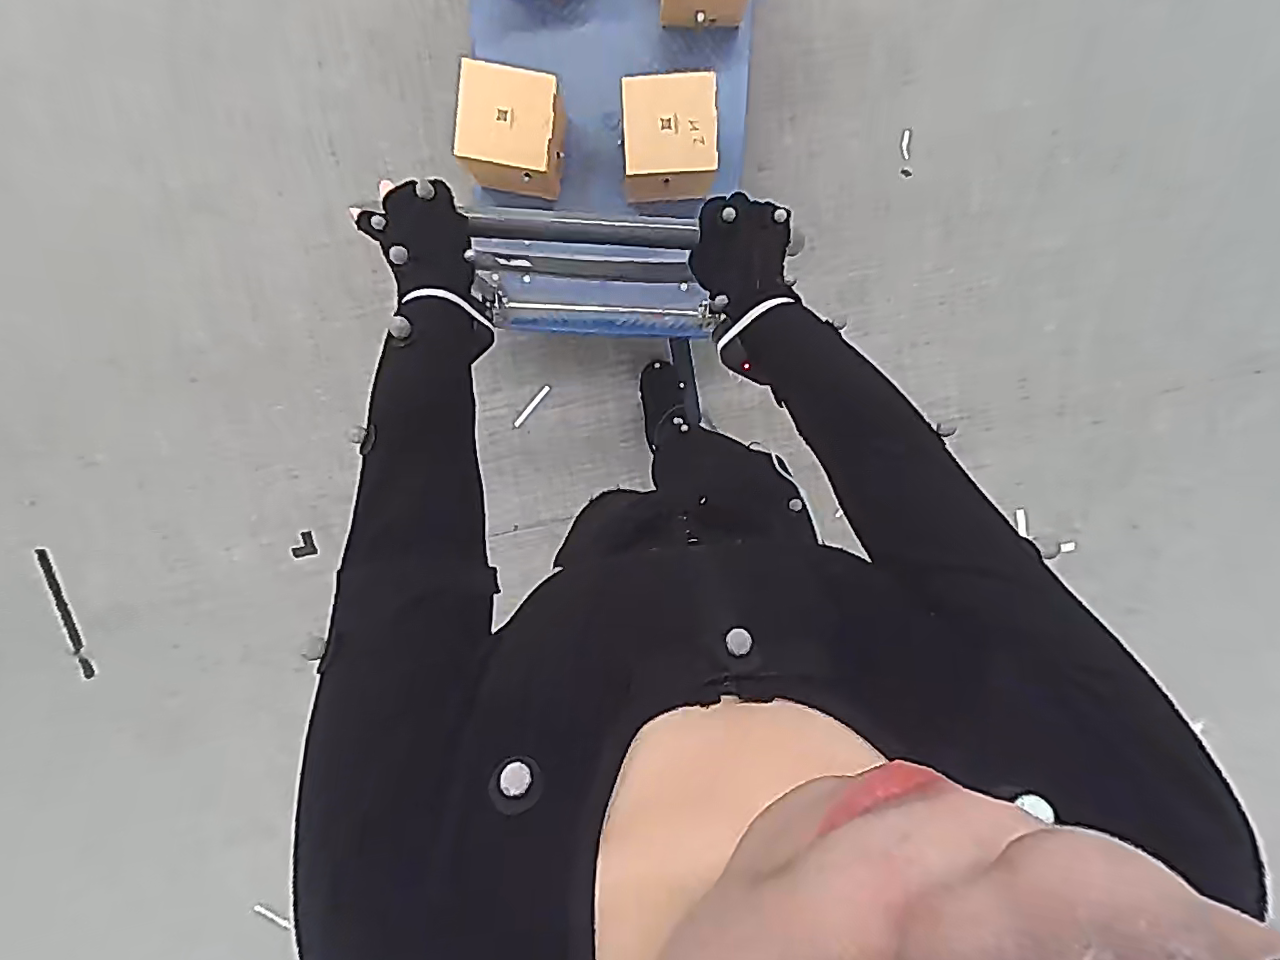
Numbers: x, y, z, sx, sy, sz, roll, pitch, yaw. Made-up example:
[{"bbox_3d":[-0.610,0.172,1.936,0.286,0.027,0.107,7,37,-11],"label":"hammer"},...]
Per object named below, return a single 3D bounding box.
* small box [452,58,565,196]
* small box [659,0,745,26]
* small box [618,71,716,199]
[{"bbox_3d":[-0.252,-0.681,1.066,0.179,0.176,0.168,8,101,-3],"label":"small box"},{"bbox_3d":[0.120,-0.996,1.005,0.168,0.176,0.179,0,102,0],"label":"small box"},{"bbox_3d":[0.052,-0.670,1.070,0.179,0.176,0.168,-3,102,0],"label":"small box"}]
